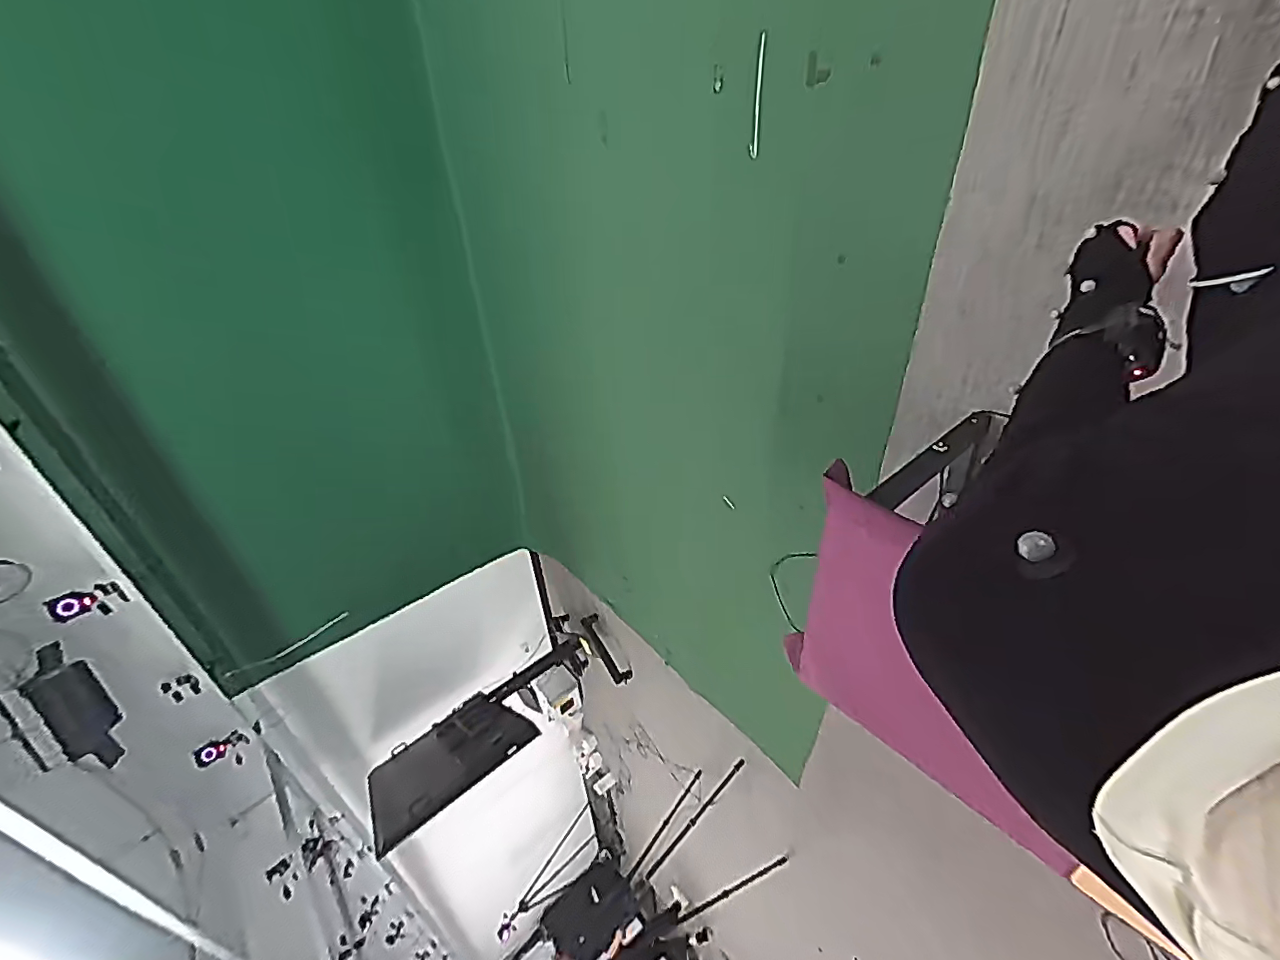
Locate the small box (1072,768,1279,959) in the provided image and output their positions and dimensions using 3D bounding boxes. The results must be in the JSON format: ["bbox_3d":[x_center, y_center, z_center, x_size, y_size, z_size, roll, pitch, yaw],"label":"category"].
[{"bbox_3d":[0.827,0.586,0.839,0.179,0.176,0.168,28,136,44],"label":"small box"}]
